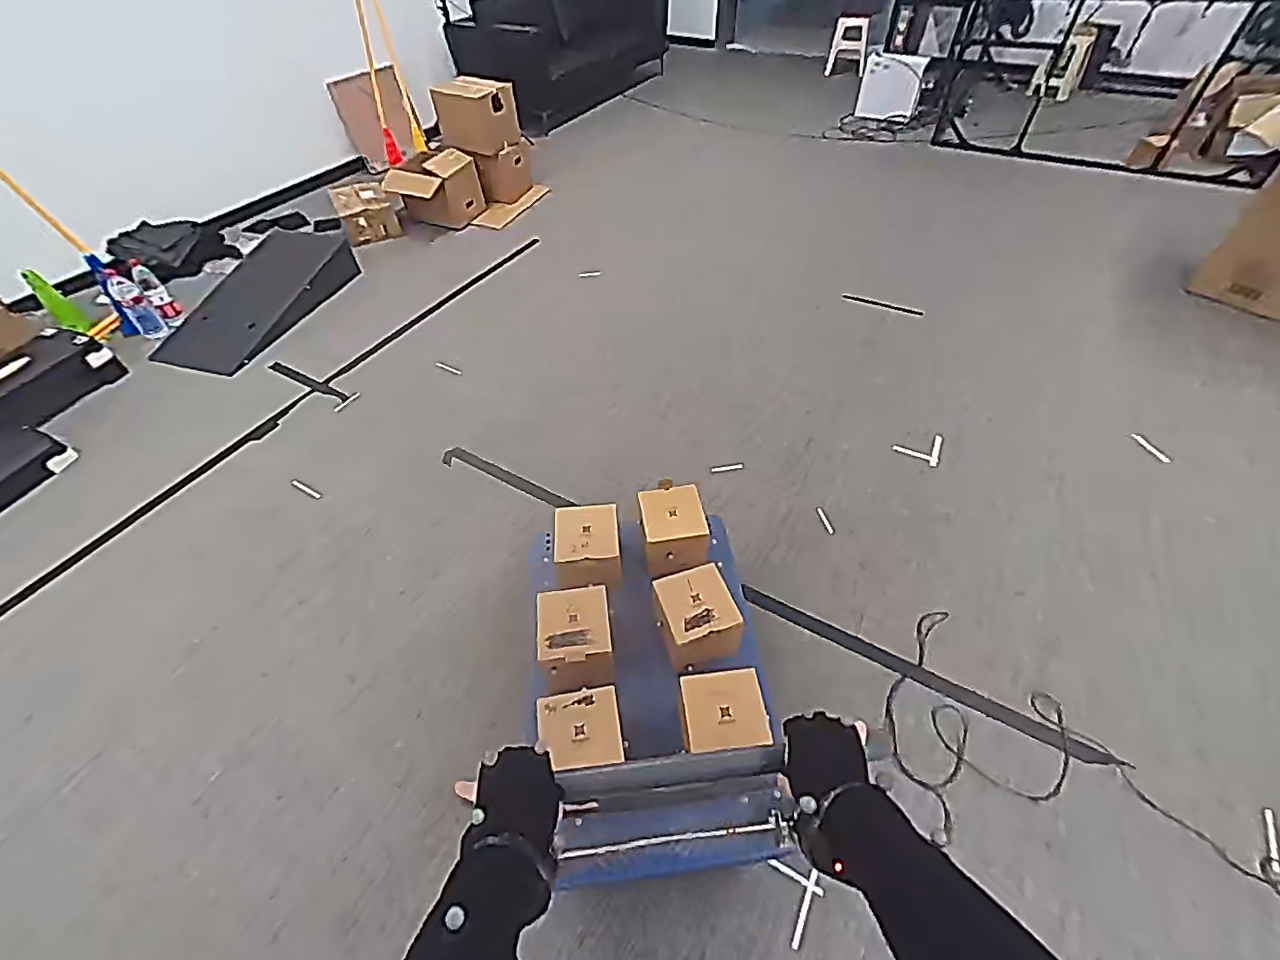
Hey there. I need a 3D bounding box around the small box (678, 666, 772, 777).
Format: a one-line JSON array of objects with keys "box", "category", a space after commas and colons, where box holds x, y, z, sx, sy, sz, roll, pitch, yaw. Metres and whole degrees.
[{"box": [0.175, 0.527, 1.169, 0.168, 0.176, 0.179, -5, 48, -4], "category": "small box"}]

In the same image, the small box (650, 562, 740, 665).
[{"box": [0.132, 0.337, 1.338, 0.168, 0.176, 0.179, -15, 49, -12], "category": "small box"}]

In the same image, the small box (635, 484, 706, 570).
[{"box": [0.083, 0.137, 1.517, 0.168, 0.176, 0.179, -8, 49, -5], "category": "small box"}]

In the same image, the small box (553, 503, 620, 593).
[{"box": [-0.143, 0.186, 1.476, 0.168, 0.176, 0.179, -4, 49, -2], "category": "small box"}]

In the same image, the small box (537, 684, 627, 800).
[{"box": [-0.121, 0.560, 1.146, 0.168, 0.176, 0.179, -8, 49, -6], "category": "small box"}]
